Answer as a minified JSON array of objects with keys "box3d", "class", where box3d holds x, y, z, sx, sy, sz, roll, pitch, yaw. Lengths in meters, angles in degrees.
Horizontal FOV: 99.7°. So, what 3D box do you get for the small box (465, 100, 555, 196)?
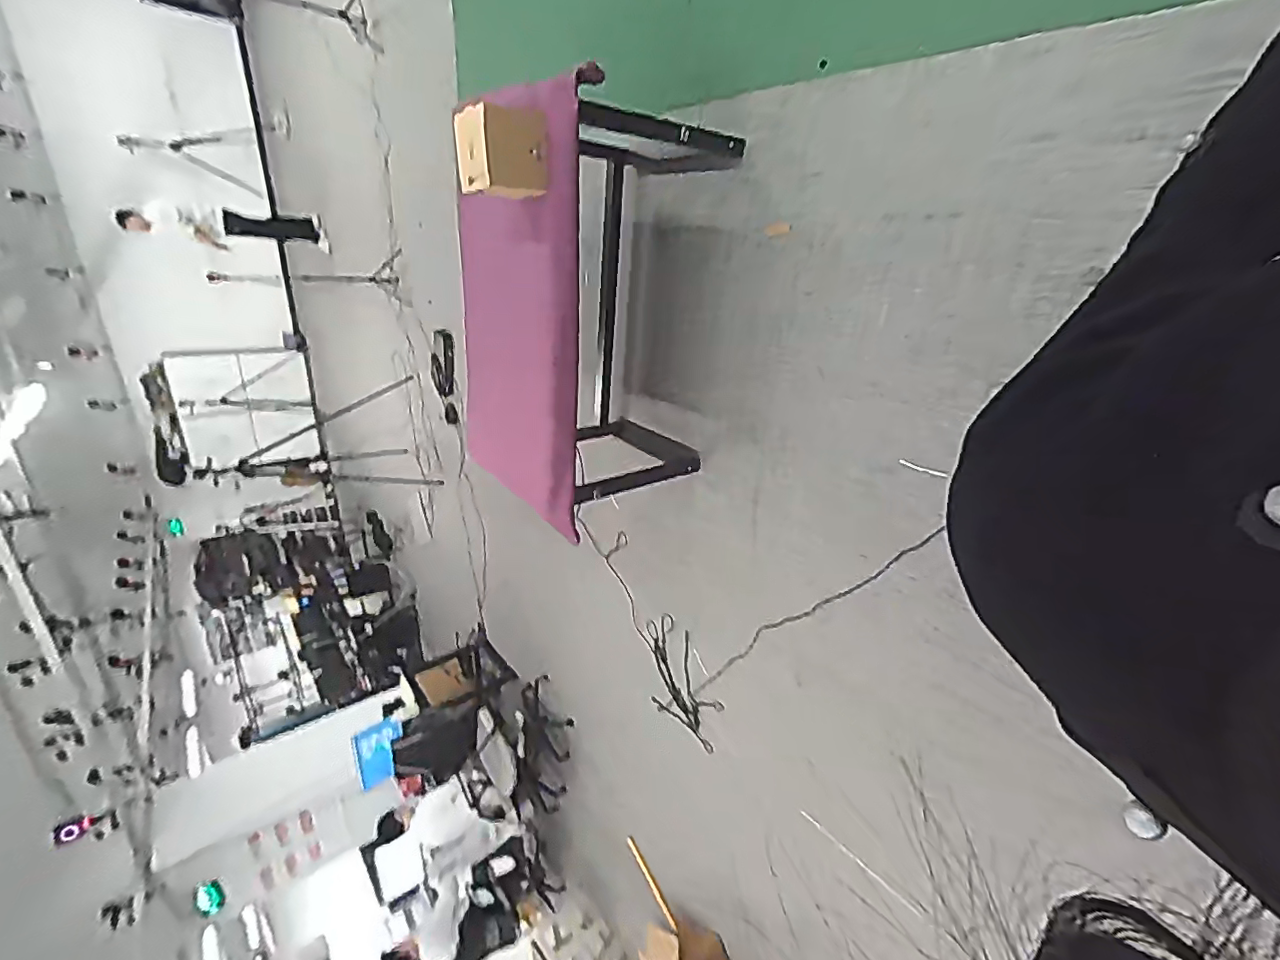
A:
[{"box3d":[-0.329,-0.838,1.382,0.168,0.176,0.179,26,122,46],"class":"small box"}]
